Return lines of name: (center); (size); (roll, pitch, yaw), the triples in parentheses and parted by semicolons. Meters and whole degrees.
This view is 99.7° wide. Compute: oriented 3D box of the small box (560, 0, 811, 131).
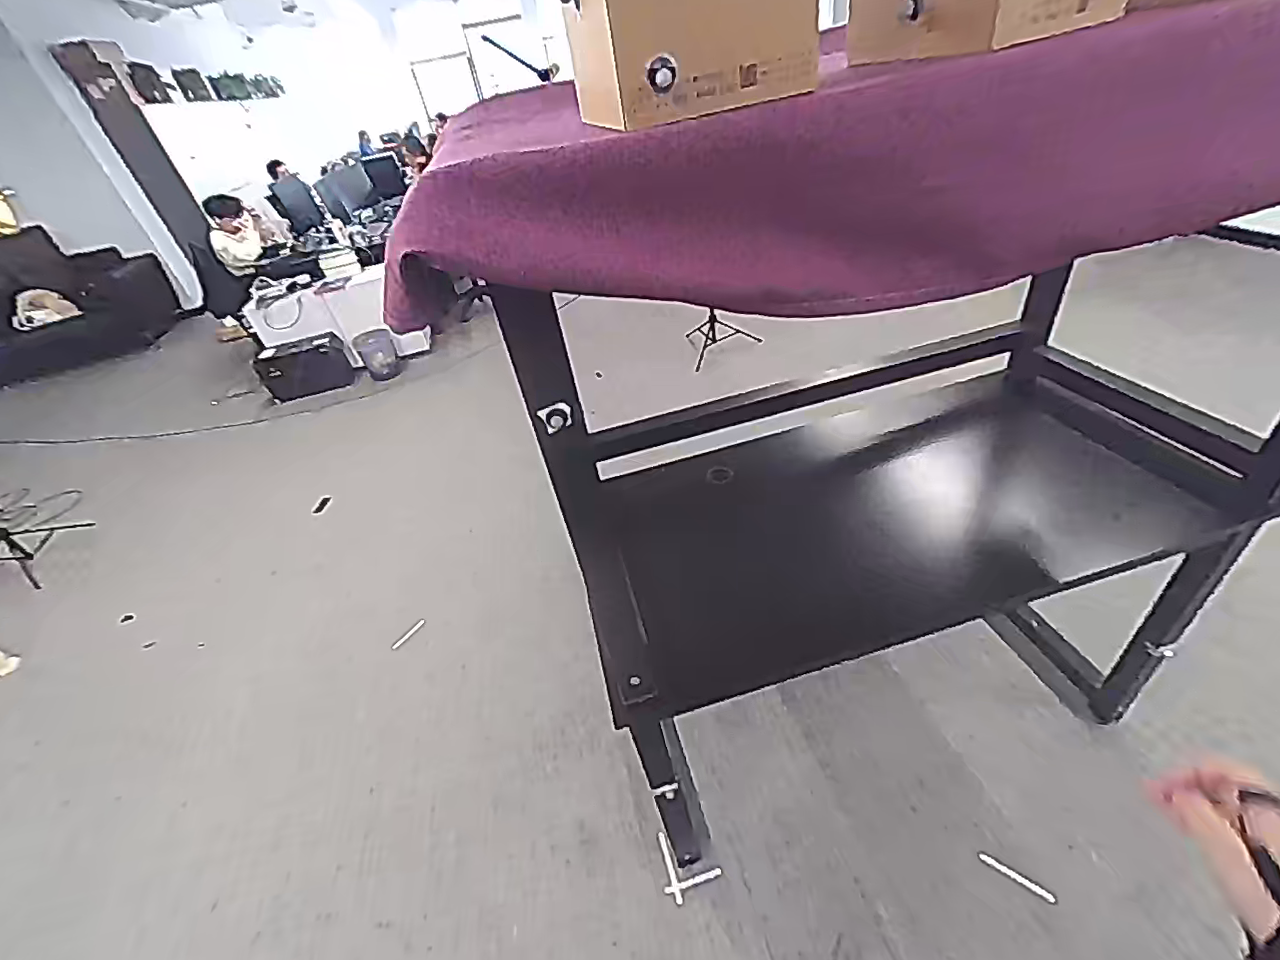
small box: (0.030, -0.402, 0.446); (0.168, 0.176, 0.179); (-17, 37, -8)

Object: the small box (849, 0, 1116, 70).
small box: (0.314, -0.491, 0.487); (0.168, 0.176, 0.179); (-22, 39, -14)
